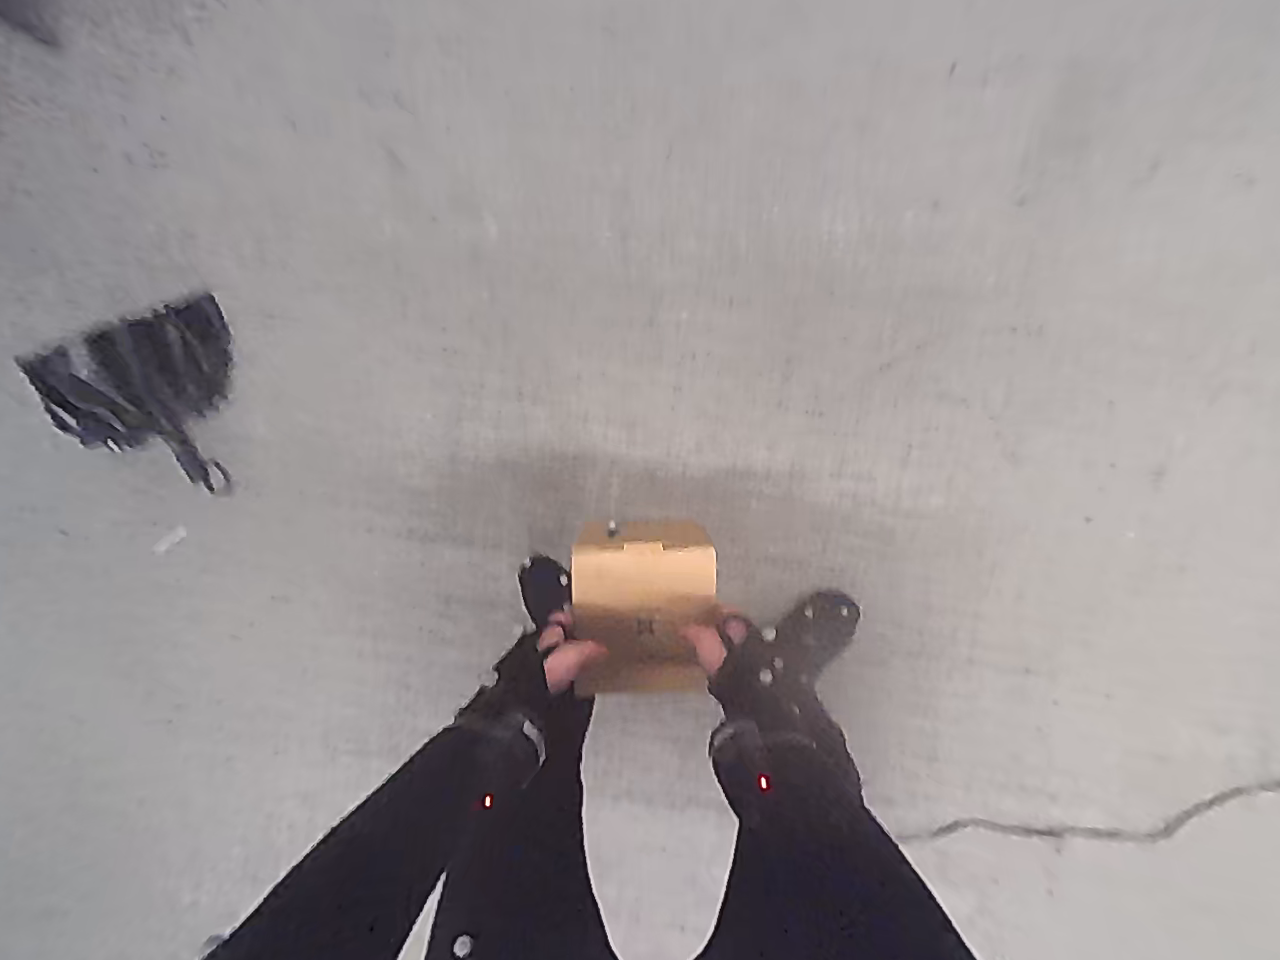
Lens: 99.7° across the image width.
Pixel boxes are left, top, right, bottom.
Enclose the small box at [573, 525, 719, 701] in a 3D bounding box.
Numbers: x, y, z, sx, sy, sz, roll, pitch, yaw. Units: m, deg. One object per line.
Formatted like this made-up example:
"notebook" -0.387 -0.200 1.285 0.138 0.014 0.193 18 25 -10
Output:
"small box" 0.005 0.155 0.687 0.168 0.176 0.179 -1 99 0
